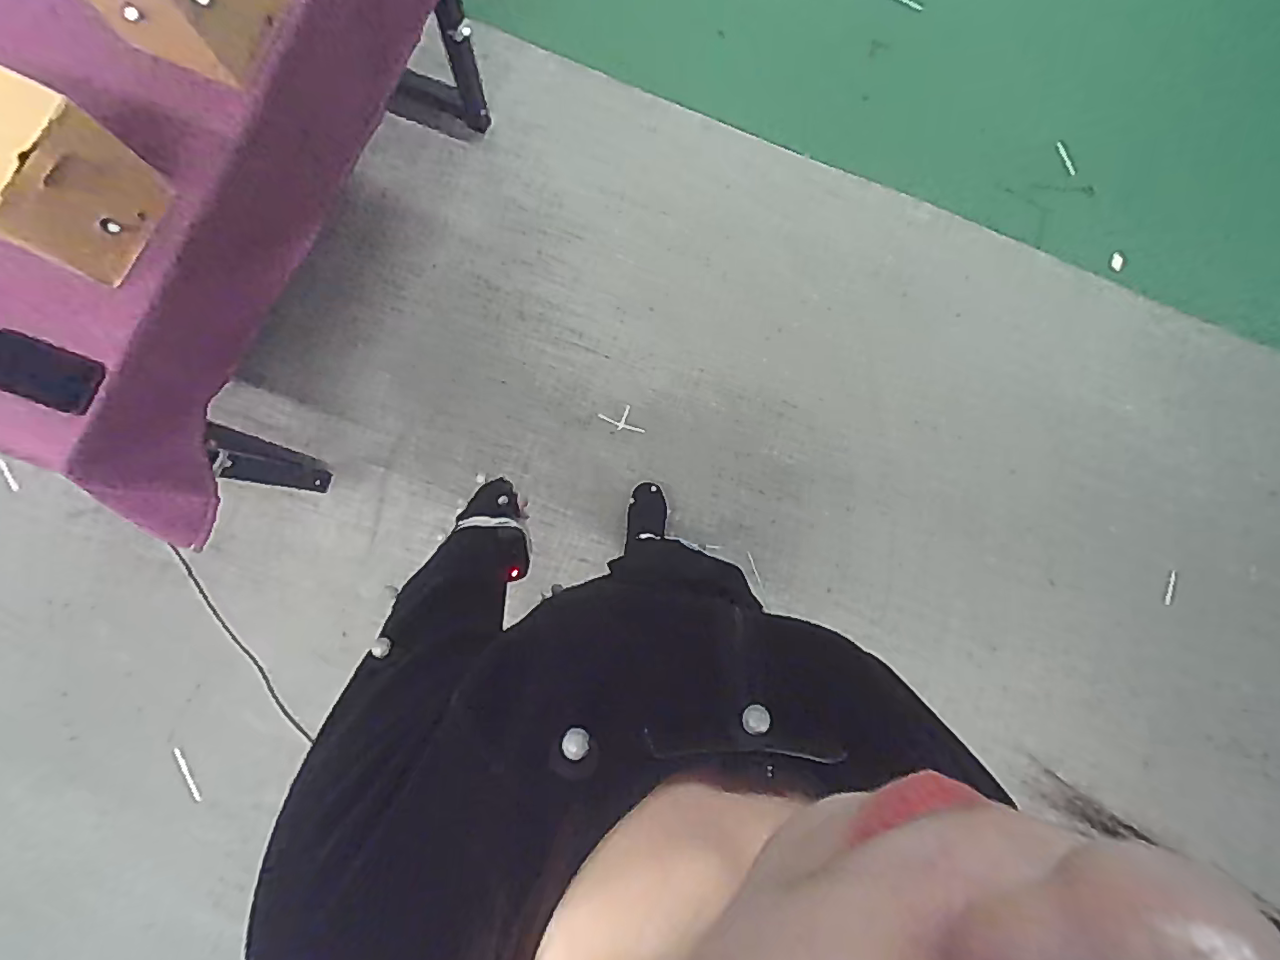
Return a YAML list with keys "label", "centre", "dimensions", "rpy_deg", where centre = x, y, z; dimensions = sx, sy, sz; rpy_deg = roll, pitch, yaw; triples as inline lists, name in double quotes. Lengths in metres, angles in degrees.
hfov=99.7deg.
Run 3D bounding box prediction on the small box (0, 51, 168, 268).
- label: "small box"
  centre: [-0.751, -0.392, 0.656]
  dimensions: [0.179, 0.176, 0.168]
  rpy_deg: [25, 82, -4]
